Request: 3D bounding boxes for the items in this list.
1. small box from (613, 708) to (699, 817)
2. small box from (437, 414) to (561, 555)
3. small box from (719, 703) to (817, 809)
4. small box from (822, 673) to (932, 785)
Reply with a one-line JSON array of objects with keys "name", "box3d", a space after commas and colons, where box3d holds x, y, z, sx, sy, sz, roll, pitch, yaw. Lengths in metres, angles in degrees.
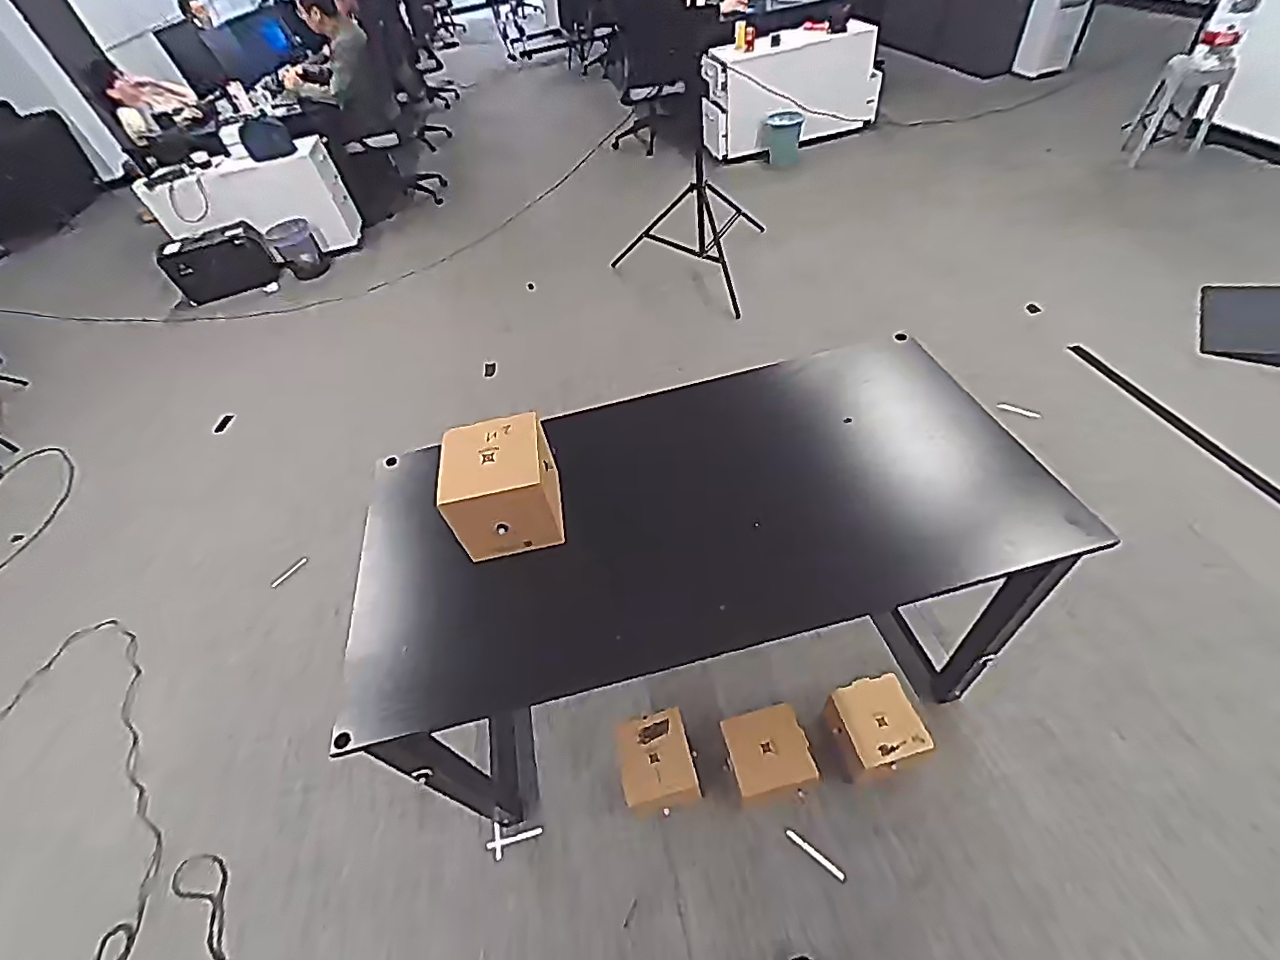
[{"name": "small box", "box3d": [0.039, 0.680, 1.299, 0.168, 0.176, 0.179, -15, 49, -3]}, {"name": "small box", "box3d": [-0.240, 0.015, 0.953, 0.168, 0.176, 0.179, -12, 48, -1]}, {"name": "small box", "box3d": [0.295, 0.655, 1.278, 0.179, 0.176, 0.168, -15, 48, -2]}, {"name": "small box", "box3d": [0.550, 0.593, 1.284, 0.168, 0.176, 0.179, -16, 48, -3]}]
